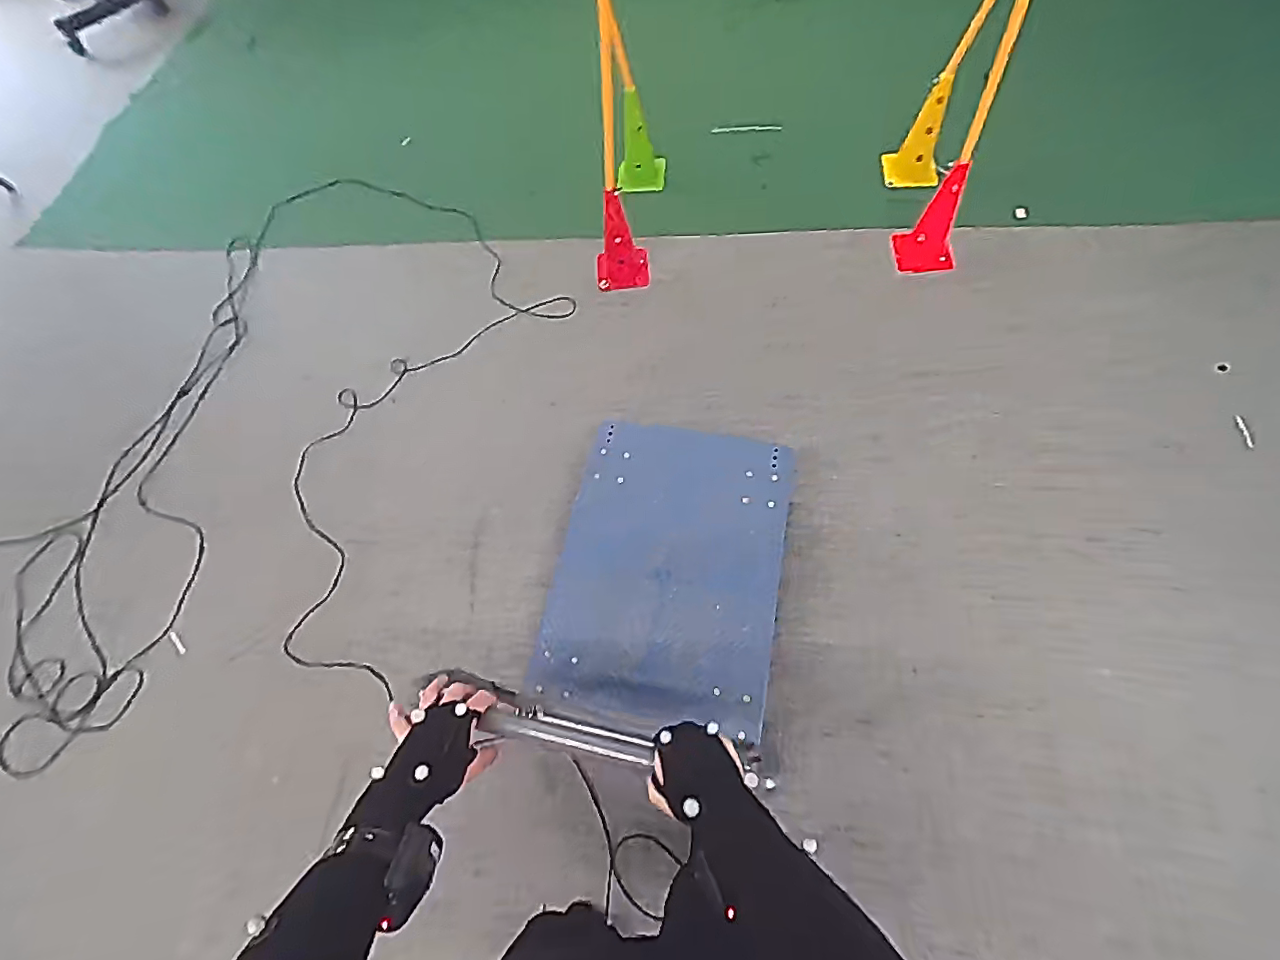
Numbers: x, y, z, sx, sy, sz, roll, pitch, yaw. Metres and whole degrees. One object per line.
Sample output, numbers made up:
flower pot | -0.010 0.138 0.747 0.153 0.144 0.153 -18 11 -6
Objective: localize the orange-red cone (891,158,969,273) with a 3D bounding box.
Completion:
orange-red cone | 1.022 -0.915 1.843 0.198 0.360 0.199 2 63 6

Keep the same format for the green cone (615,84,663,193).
green cone | -0.021 -1.383 2.173 0.200 0.368 0.202 1 64 7
